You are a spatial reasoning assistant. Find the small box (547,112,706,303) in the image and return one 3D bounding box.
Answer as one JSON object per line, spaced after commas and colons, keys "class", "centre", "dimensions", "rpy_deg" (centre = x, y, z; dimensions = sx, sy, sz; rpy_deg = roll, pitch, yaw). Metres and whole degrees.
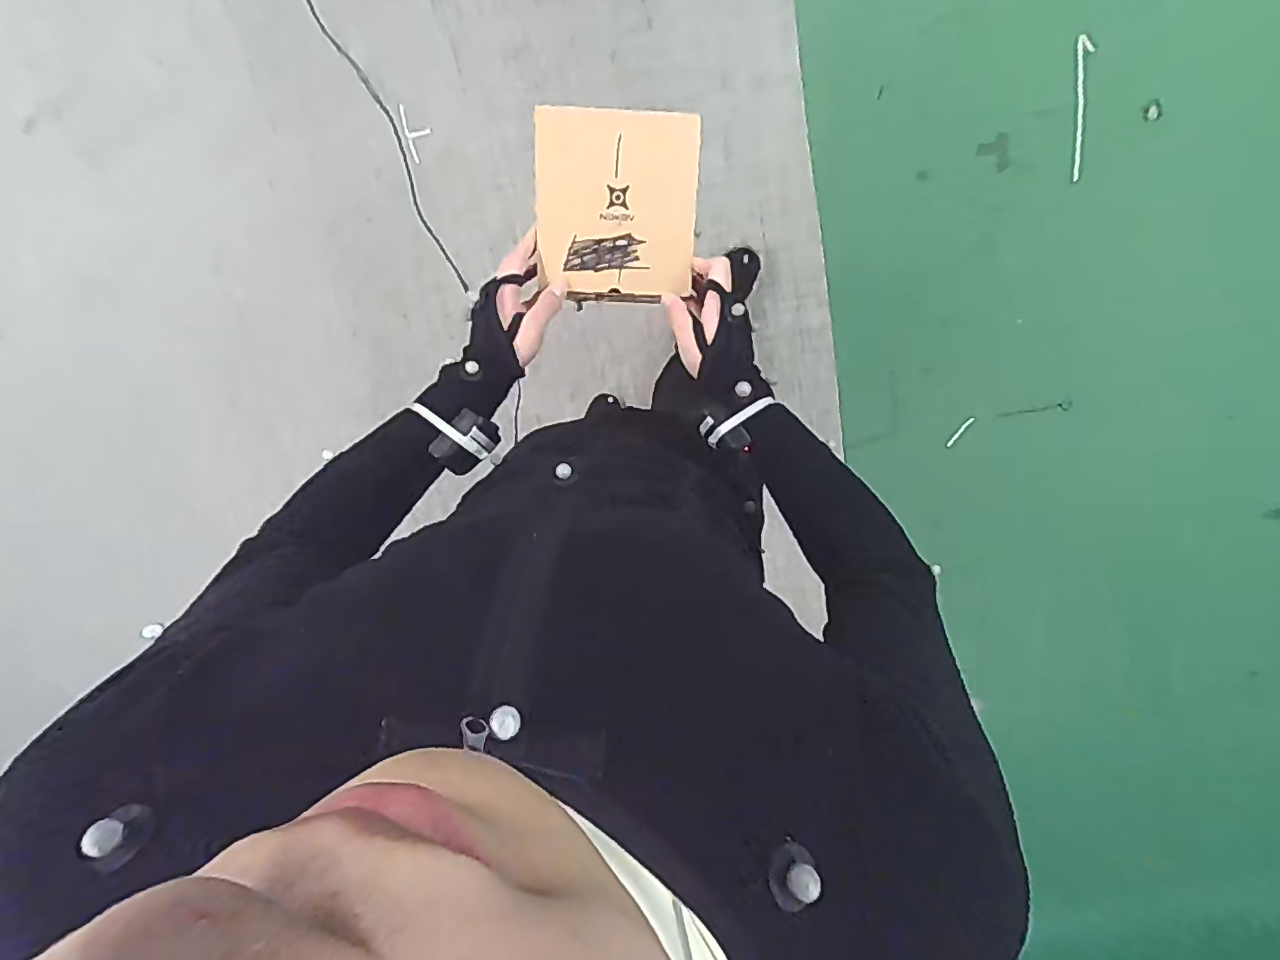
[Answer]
{"class": "small box", "centre": [-0.020, -0.308, 0.649], "dimensions": [0.168, 0.176, 0.179], "rpy_deg": [1, 105, -3]}
